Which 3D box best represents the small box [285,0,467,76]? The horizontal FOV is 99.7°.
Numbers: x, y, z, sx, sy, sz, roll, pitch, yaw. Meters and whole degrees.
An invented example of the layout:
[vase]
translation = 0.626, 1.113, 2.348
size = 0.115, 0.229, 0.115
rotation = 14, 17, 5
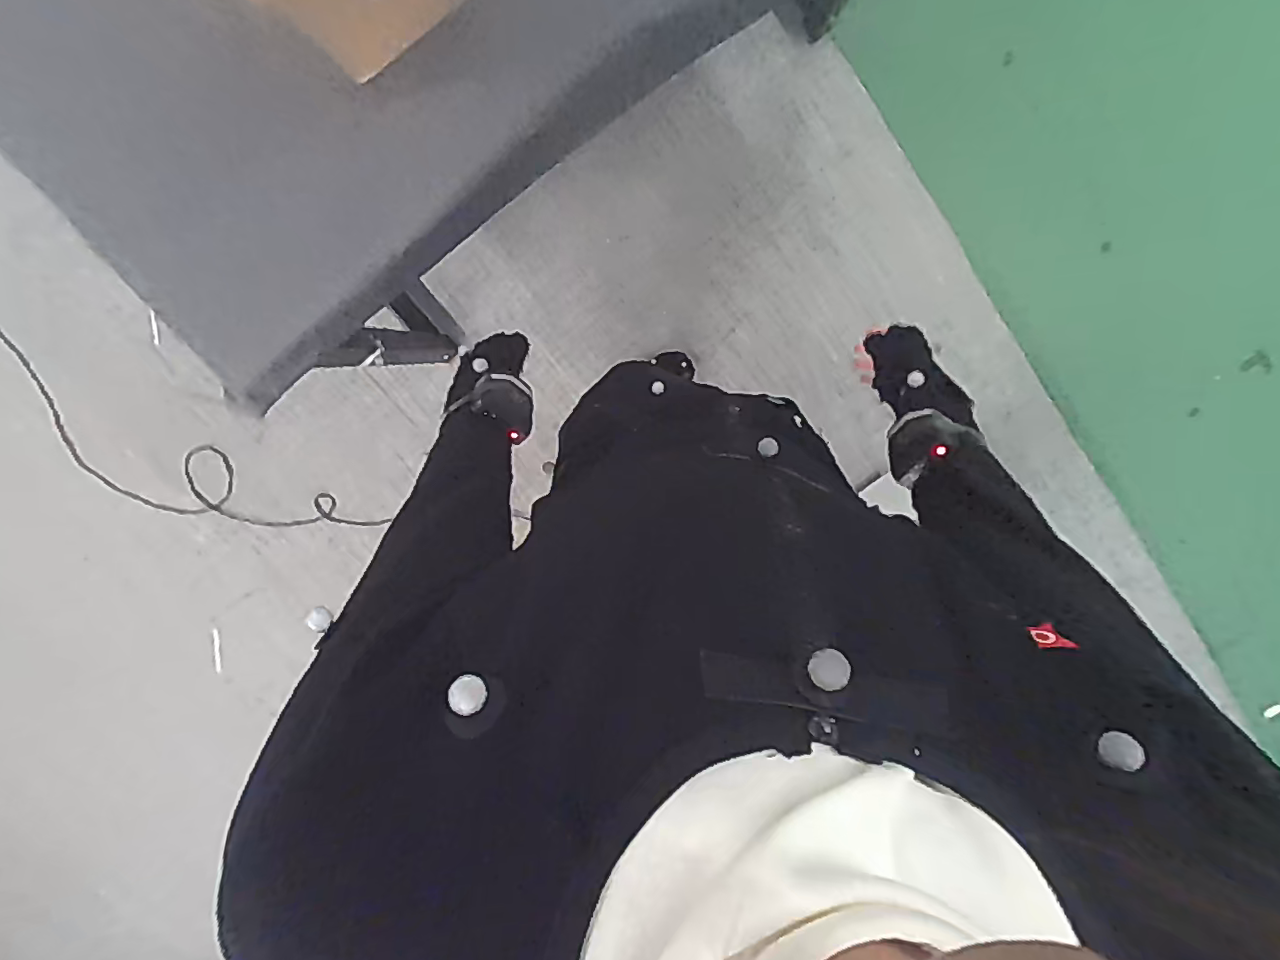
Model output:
[small box]
translation = -0.275, -0.527, 0.492
size = 0.179, 0.176, 0.168
rotation = -33, 100, 9
